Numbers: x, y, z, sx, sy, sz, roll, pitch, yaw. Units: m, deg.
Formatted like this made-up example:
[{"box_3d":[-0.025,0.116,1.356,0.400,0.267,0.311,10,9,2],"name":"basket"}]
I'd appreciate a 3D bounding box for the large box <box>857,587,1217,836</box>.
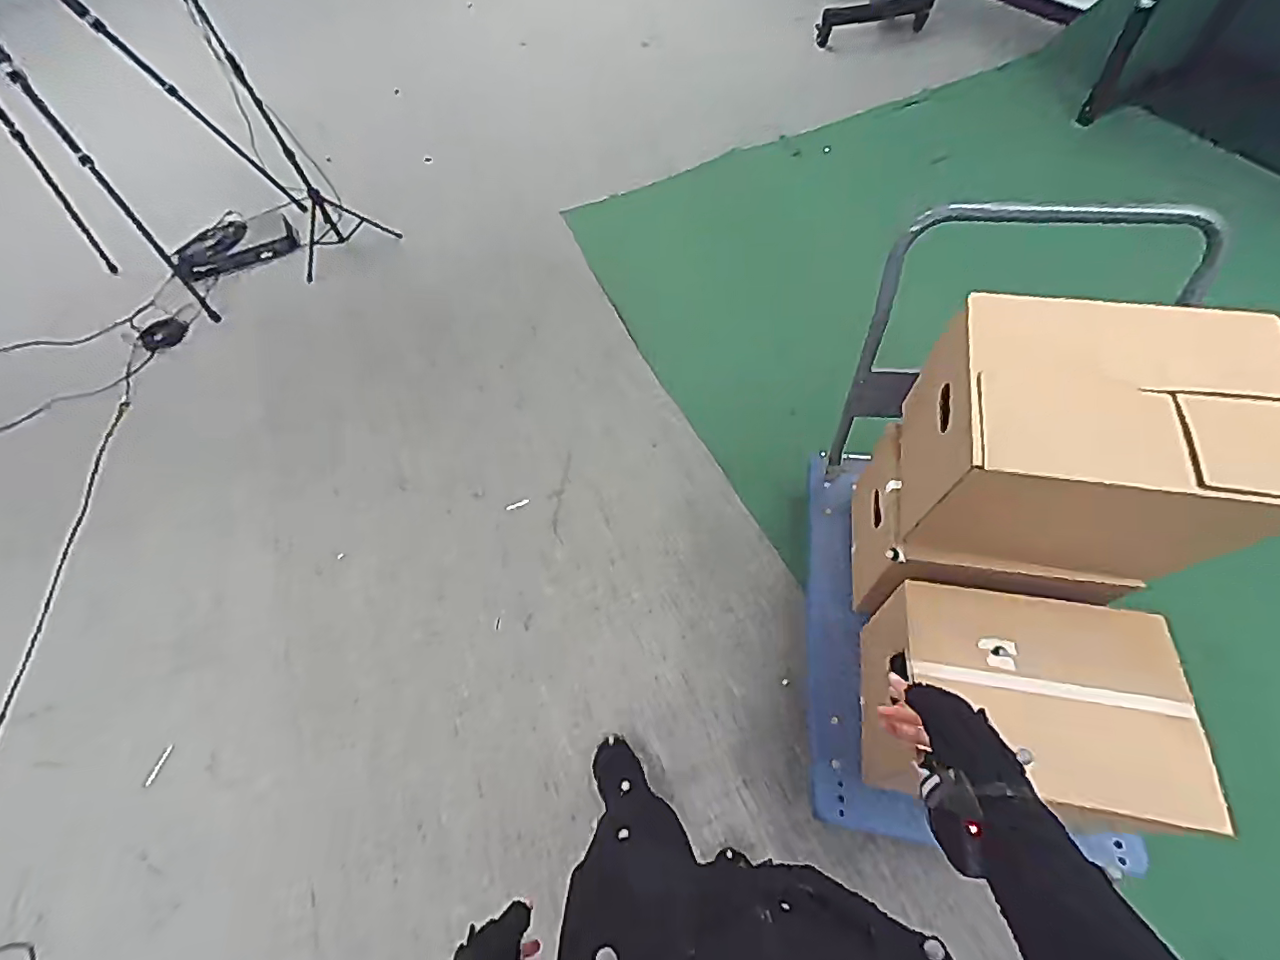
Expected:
[{"box_3d":[0.633,0.413,0.965,0.408,0.320,0.320,6,58,11],"name":"large box"}]
